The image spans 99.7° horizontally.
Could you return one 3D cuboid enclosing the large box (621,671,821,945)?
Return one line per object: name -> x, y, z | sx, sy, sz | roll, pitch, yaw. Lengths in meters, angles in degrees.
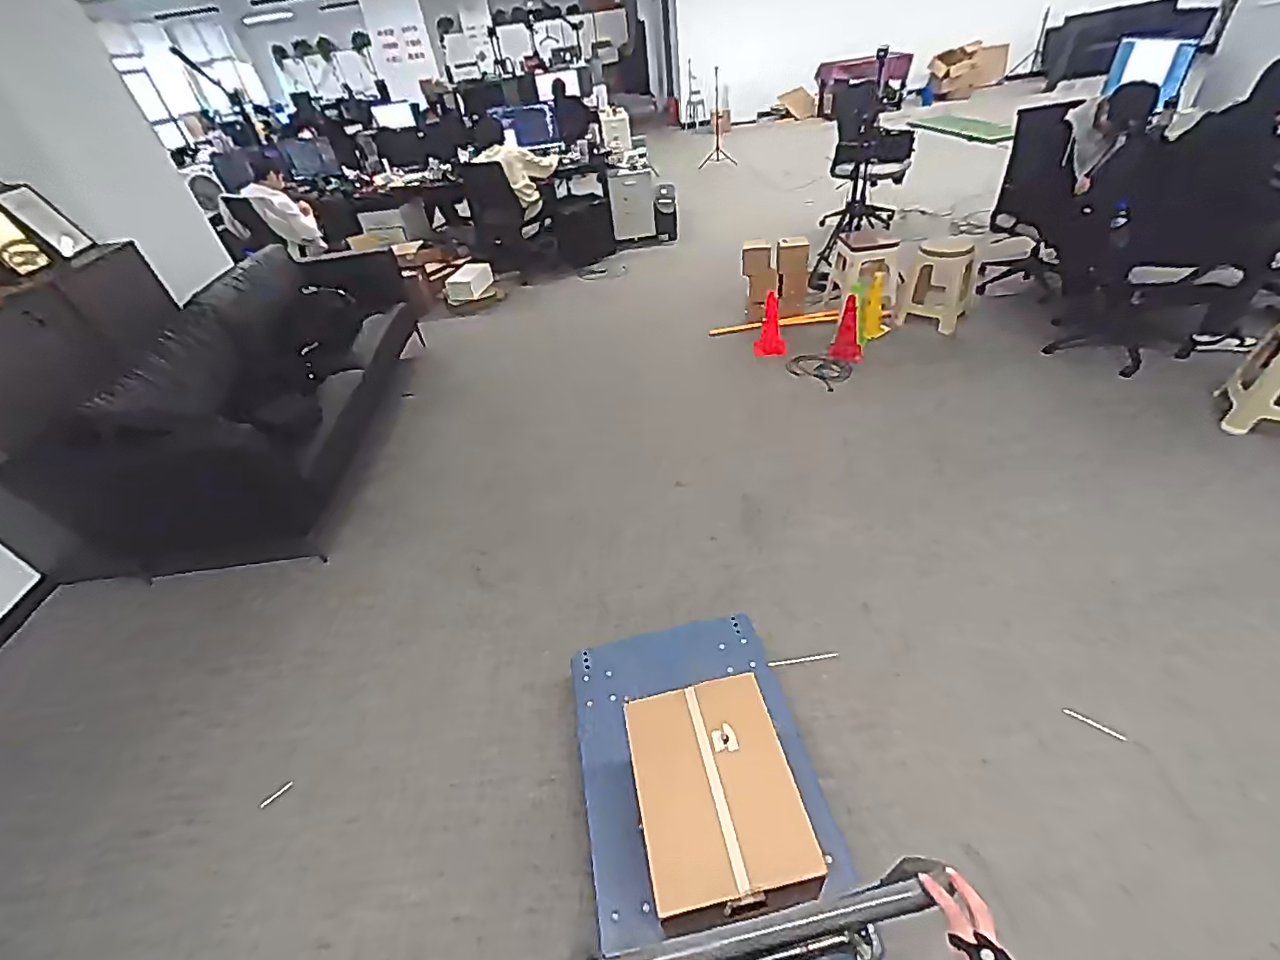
large box -> 0.162, 0.717, 1.205 | 0.320, 0.320, 0.408 | -12, 40, -4
